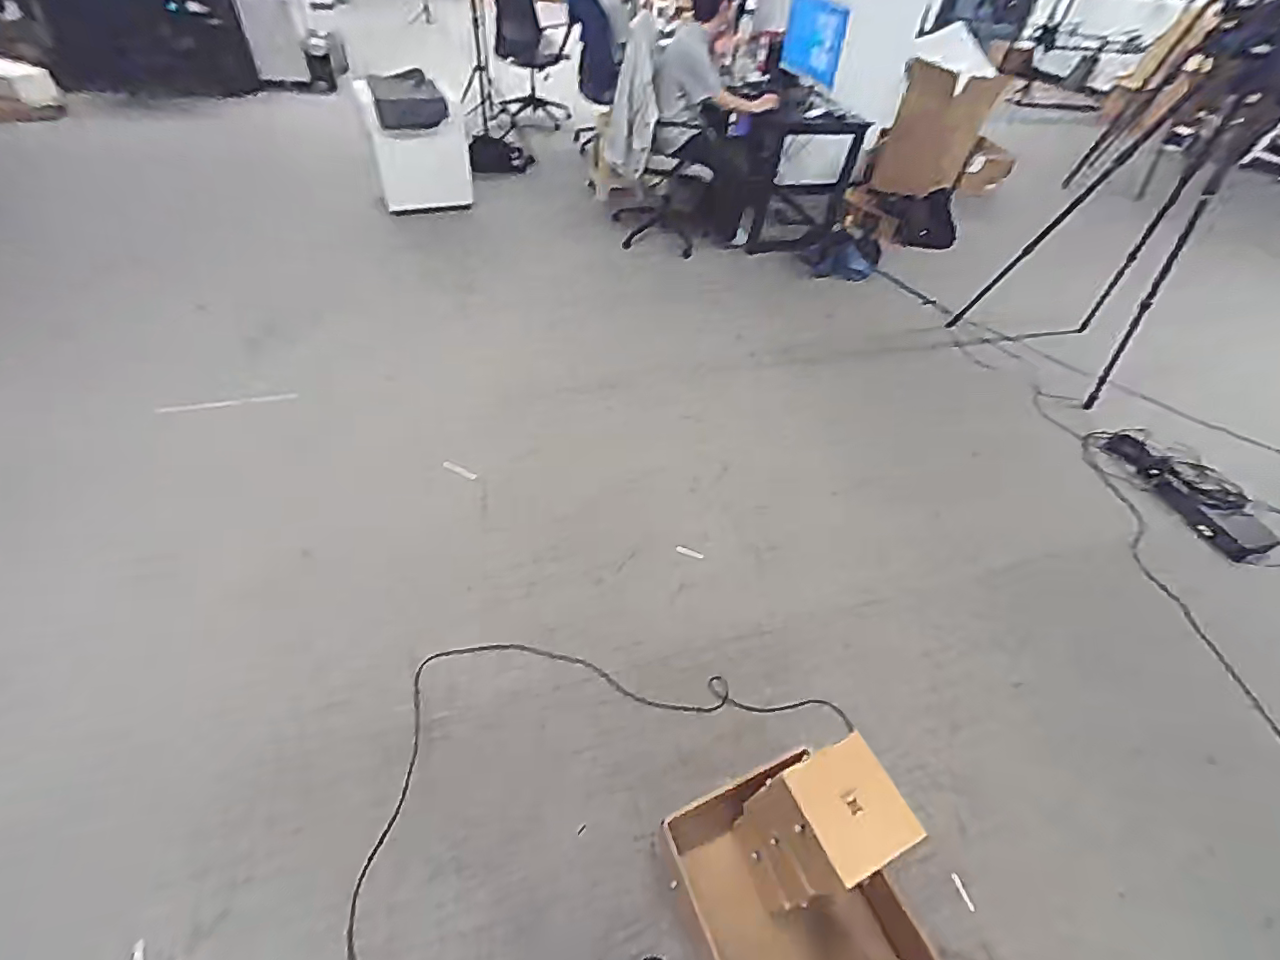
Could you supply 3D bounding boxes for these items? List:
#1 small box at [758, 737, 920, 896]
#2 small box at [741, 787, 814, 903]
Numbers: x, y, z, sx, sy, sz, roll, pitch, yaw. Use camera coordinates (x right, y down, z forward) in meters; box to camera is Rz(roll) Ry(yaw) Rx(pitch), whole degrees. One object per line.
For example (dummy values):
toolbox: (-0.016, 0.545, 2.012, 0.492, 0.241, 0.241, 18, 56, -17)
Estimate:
small box: (0.329, 0.584, 0.934, 0.168, 0.176, 0.179, -17, 52, -19)
small box: (0.316, 0.690, 1.055, 0.168, 0.176, 0.179, -13, 52, -16)
